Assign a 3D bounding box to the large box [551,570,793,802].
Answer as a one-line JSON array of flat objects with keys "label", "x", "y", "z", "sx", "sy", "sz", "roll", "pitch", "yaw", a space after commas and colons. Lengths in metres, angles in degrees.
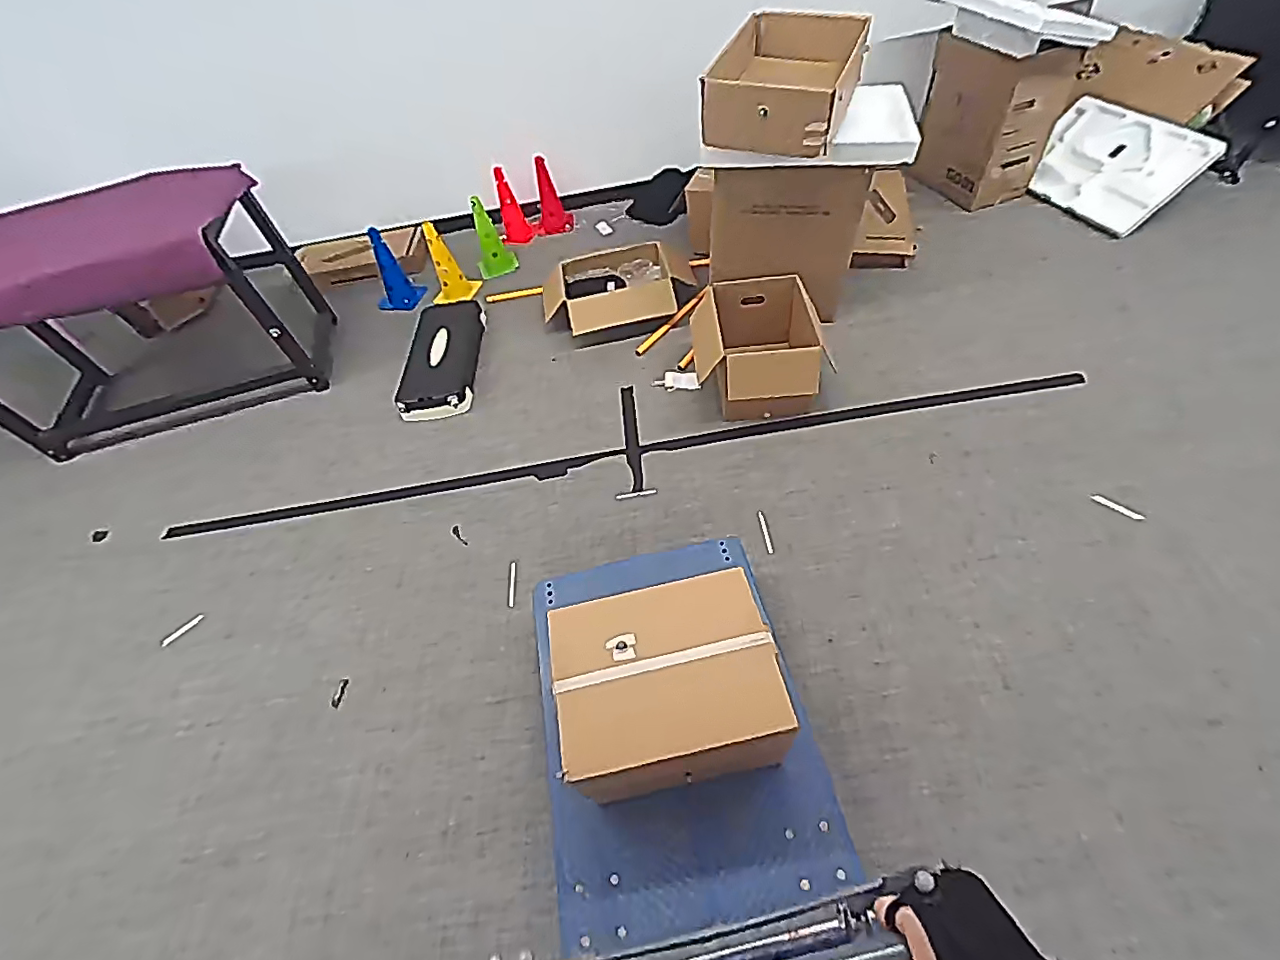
[{"label": "large box", "x": 0.062, "y": 0.437, "z": 1.130, "sx": 0.408, "sy": 0.320, "sz": 0.320, "roll": -14, "pitch": 51, "yaw": -1}]
